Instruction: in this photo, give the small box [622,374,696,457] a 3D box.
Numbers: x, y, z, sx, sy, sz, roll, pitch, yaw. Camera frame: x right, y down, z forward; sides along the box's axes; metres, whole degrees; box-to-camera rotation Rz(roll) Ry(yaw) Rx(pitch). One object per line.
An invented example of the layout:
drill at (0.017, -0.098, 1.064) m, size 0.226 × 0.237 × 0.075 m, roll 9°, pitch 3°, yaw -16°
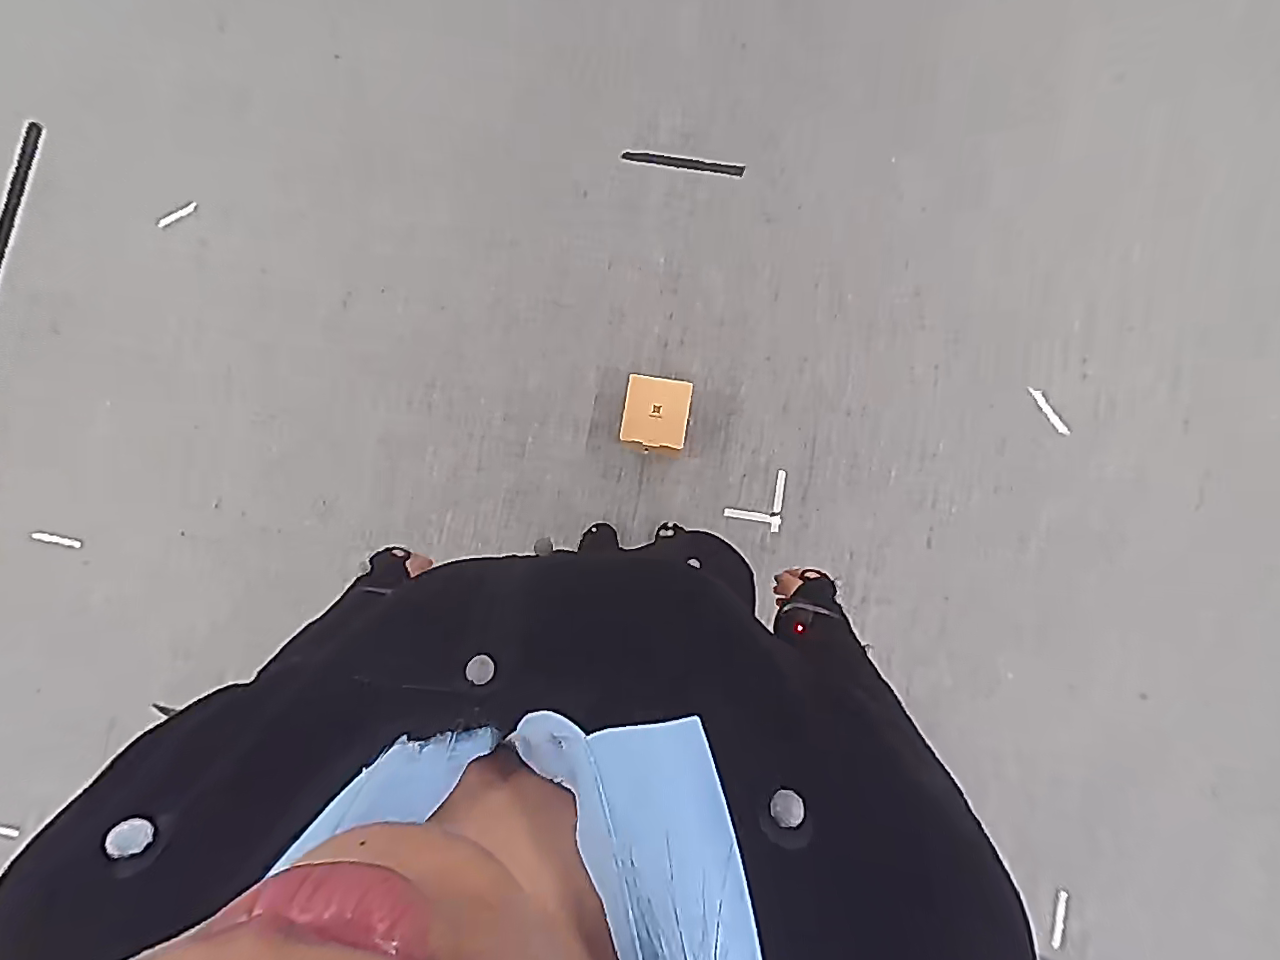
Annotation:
small box at (0.049, -0.168, 1.450) m, size 0.168 × 0.176 × 0.179 m, roll 9°, pitch 86°, yaw 2°
